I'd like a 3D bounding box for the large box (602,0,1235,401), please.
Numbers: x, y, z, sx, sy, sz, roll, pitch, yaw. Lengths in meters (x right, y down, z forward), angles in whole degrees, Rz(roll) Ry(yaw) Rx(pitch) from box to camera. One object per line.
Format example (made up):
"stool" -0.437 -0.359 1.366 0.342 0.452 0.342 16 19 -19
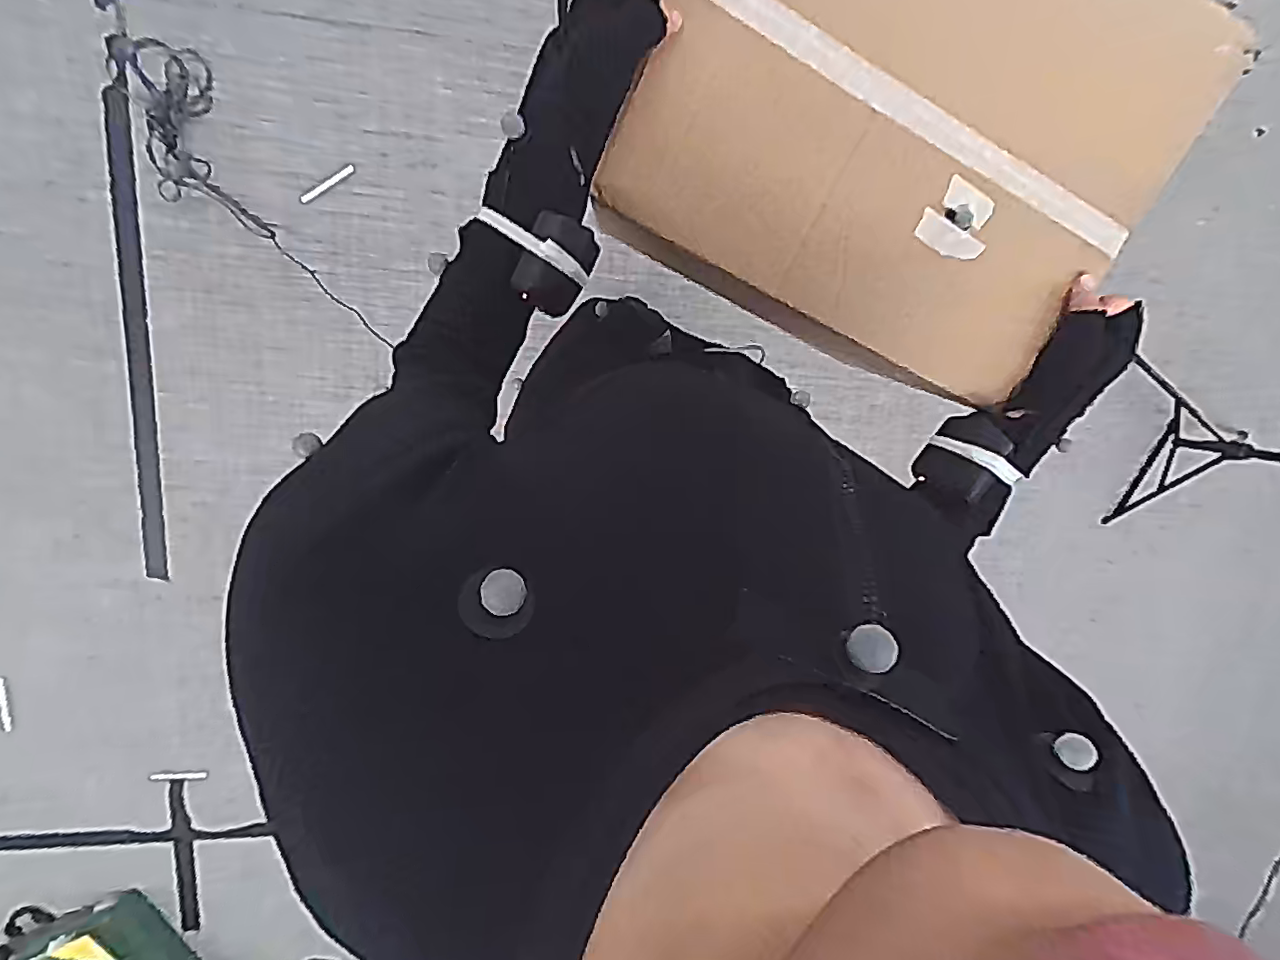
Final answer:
"large box" 0.201 -0.328 0.553 0.408 0.320 0.320 24 109 -12
